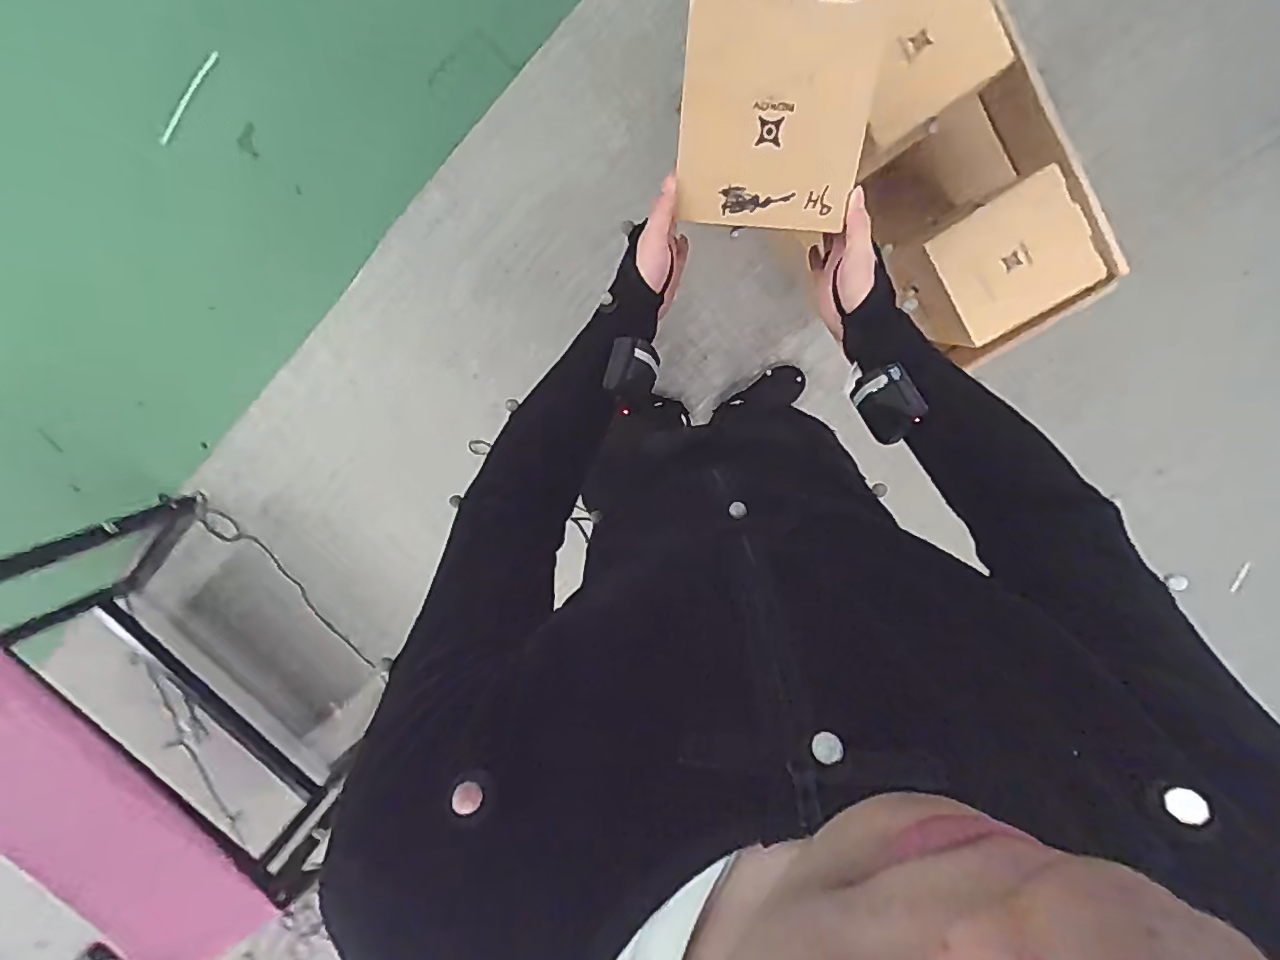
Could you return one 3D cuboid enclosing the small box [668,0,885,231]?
[{"bbox_3d":[0.121,-0.358,0.549,0.168,0.176,0.179,6,118,4],"label":"small box"}]

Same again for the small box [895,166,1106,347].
[{"bbox_3d":[0.513,-0.316,0.796,0.179,0.176,0.168,-30,99,17],"label":"small box"}]

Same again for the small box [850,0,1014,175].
[{"bbox_3d":[0.358,-0.562,0.747,0.179,0.176,0.168,-29,101,16],"label":"small box"}]
